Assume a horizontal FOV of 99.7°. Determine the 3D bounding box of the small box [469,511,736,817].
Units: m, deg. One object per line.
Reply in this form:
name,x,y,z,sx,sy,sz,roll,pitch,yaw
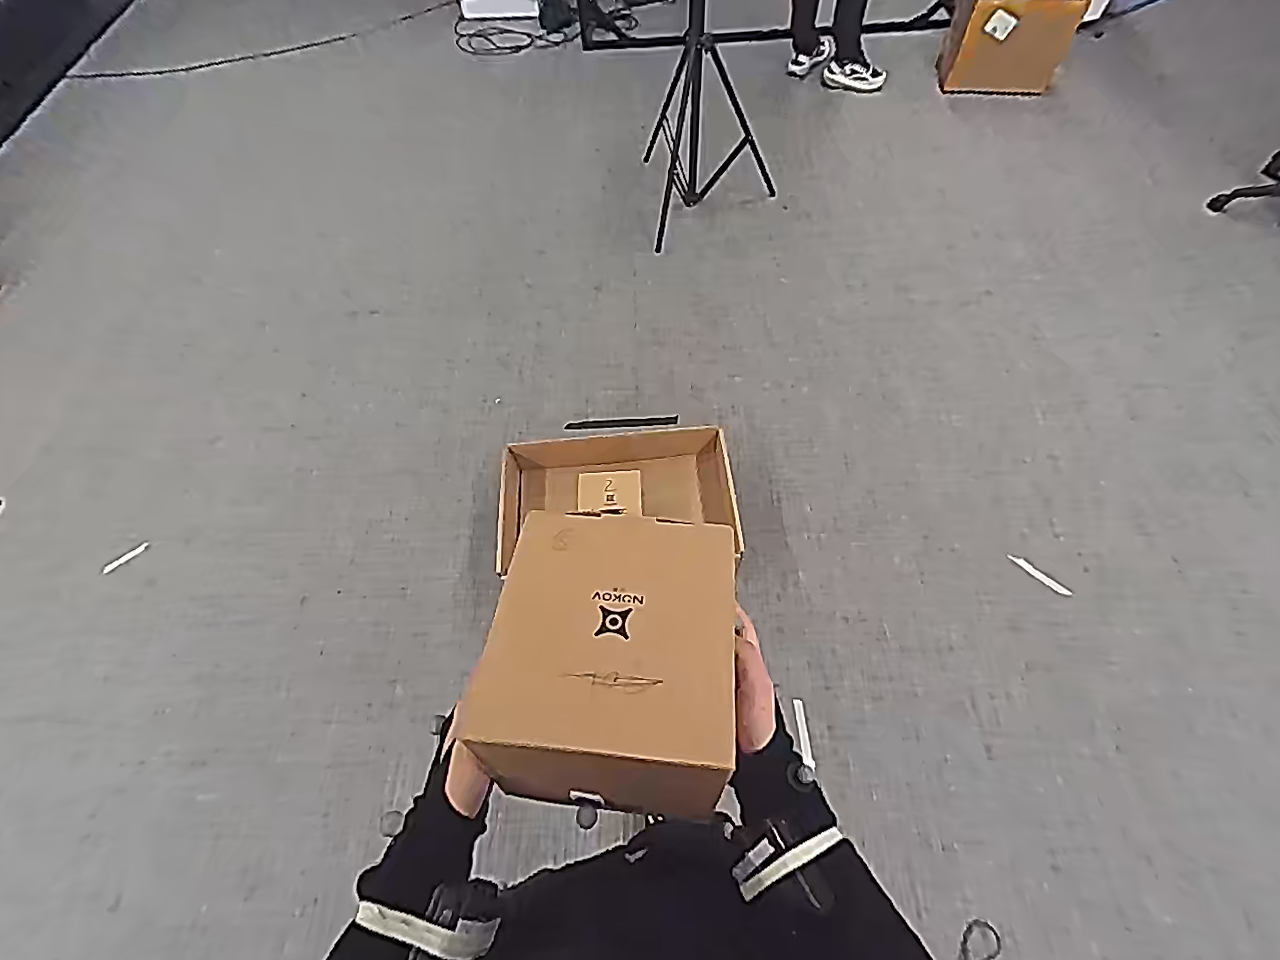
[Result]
small box,-0.016,0.148,0.436,0.168,0.176,0.179,3,49,4
